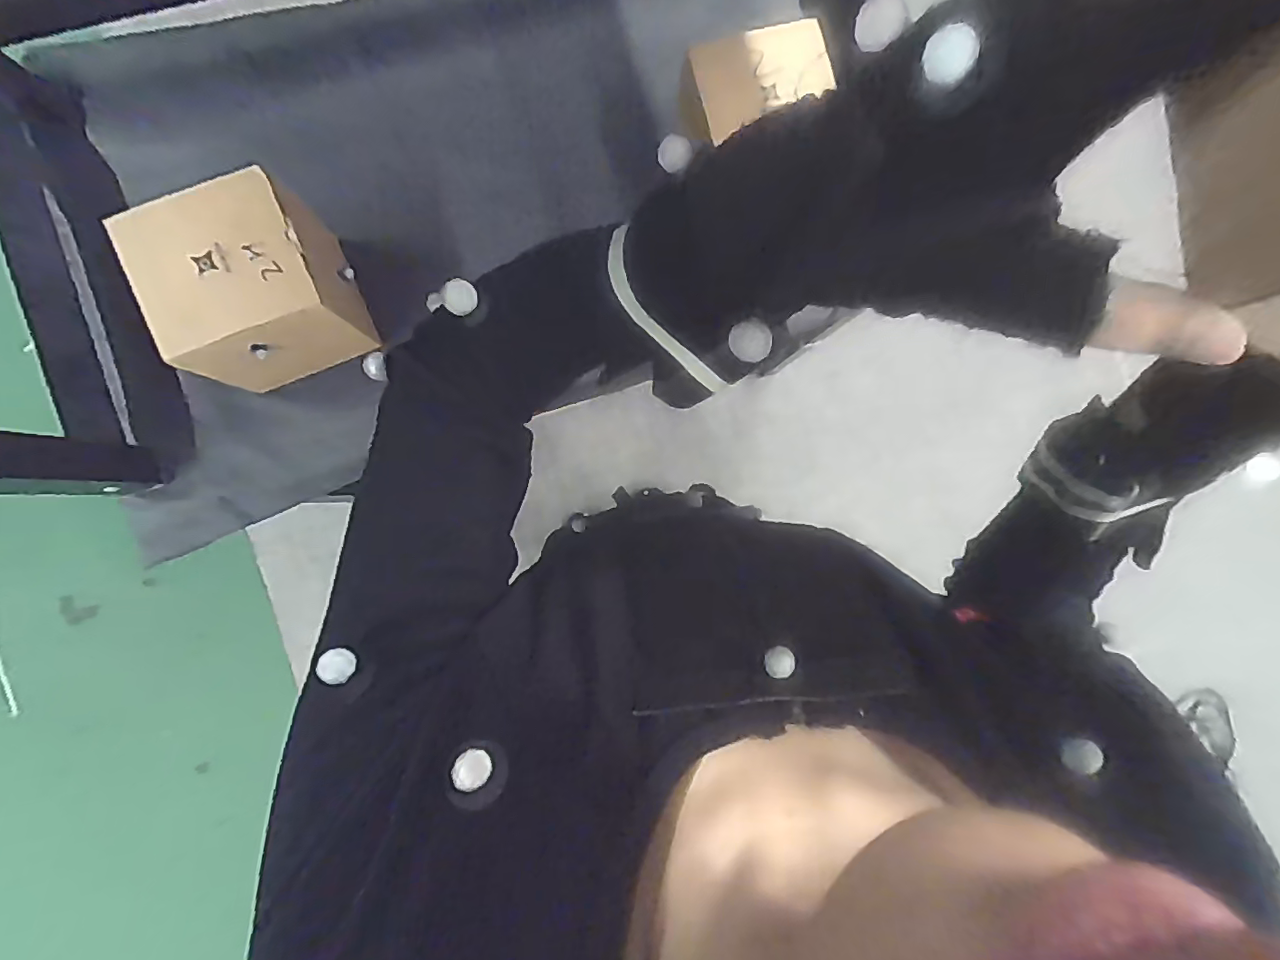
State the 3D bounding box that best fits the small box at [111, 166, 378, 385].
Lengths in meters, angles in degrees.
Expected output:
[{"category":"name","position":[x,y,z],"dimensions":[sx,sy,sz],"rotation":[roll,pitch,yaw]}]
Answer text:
[{"category":"small box","position":[-0.460,-0.233,0.661],"dimensions":[0.179,0.176,0.168],"rotation":[-23,90,-6]}]
